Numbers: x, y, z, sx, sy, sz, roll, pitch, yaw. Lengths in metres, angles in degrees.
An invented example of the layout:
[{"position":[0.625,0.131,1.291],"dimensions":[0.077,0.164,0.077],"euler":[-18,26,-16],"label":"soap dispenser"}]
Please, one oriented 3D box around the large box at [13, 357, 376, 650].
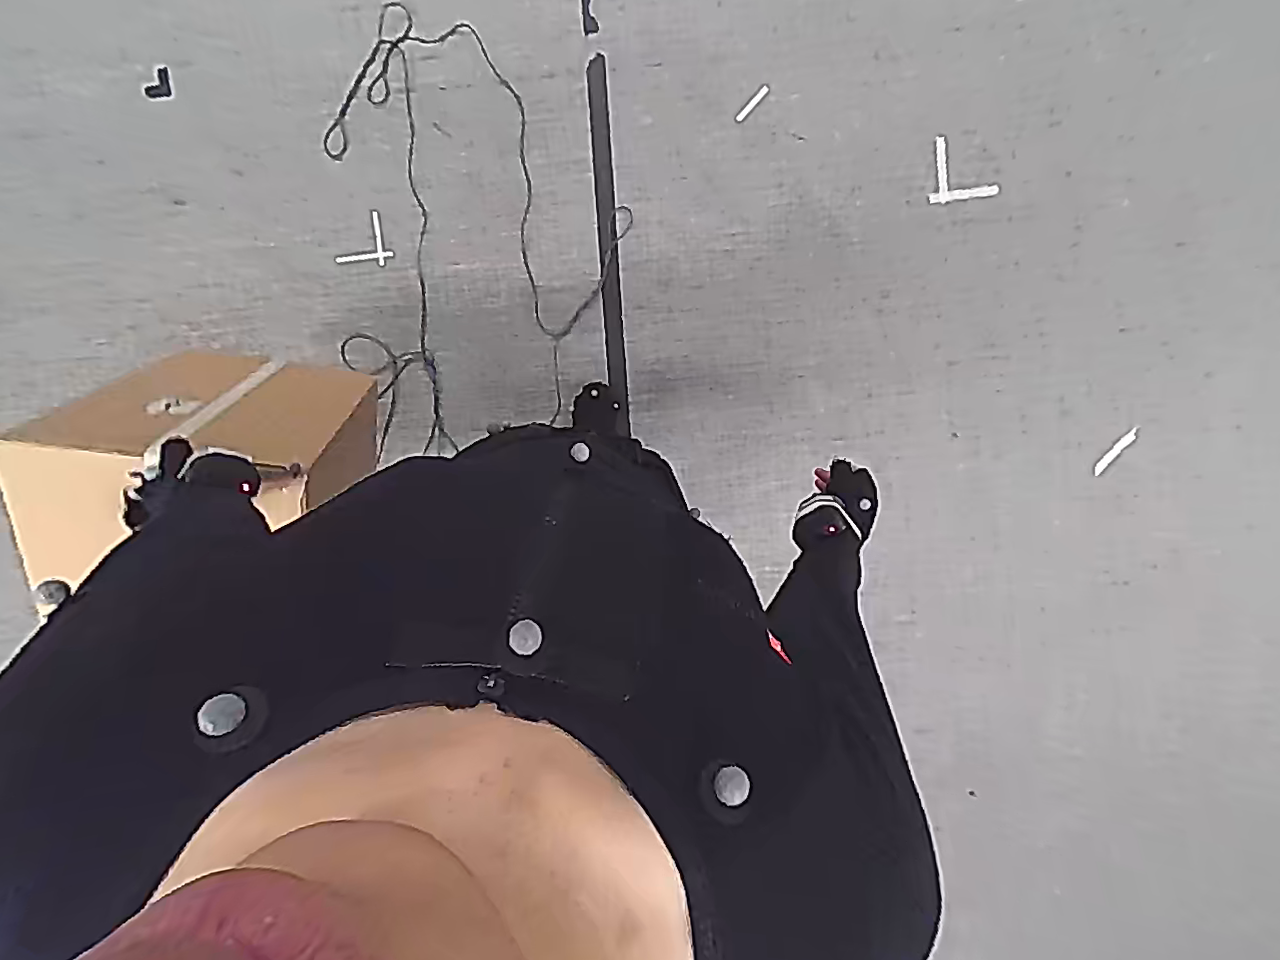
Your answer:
[{"position":[-0.639,0.021,0.887],"dimensions":[0.320,0.408,0.320],"euler":[4,117,-14],"label":"large box"}]
